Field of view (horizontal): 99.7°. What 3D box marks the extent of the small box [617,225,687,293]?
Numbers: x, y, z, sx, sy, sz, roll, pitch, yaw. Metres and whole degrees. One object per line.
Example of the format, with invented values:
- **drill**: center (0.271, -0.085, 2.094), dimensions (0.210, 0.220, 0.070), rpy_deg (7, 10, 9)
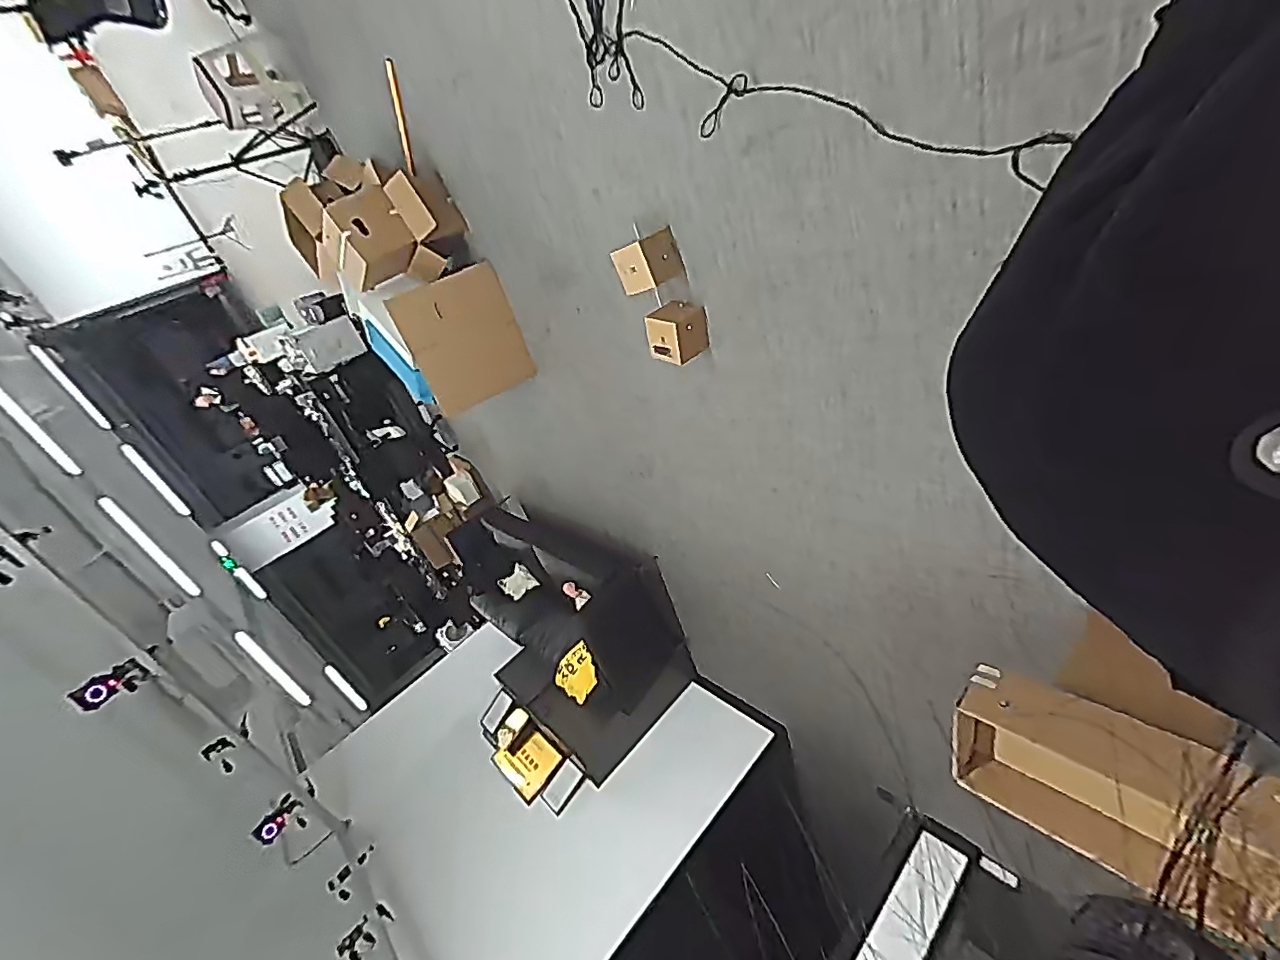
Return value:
- **small box**: center (0.054, -0.818, 2.002), dimensions (0.179, 0.176, 0.168), rpy_deg (9, 131, 53)
